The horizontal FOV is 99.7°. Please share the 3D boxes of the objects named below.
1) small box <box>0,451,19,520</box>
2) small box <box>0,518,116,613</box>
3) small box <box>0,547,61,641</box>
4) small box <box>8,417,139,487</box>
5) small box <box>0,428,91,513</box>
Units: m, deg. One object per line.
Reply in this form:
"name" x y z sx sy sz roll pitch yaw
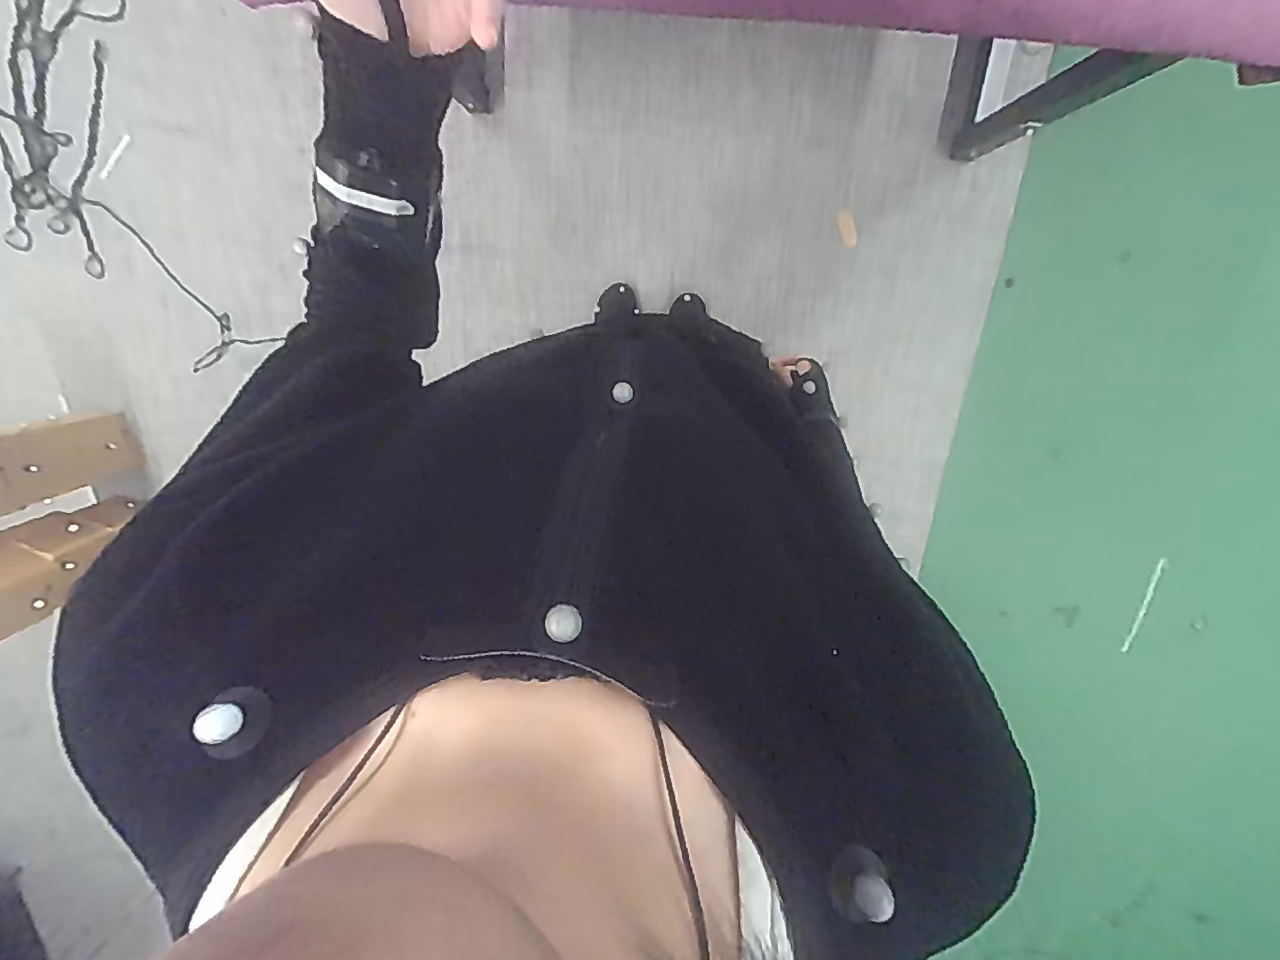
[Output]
"small box" -1.563 0.026 1.204 0.179 0.176 0.168 0 108 1
"small box" -1.562 0.227 1.443 0.168 0.176 0.179 21 107 -3
"small box" -1.563 0.280 1.287 0.179 0.176 0.168 26 107 -5
"small box" -1.565 -0.079 1.513 0.179 0.176 0.168 -2 108 4
"small box" -1.561 -0.021 1.360 0.168 0.176 0.179 -7 108 4
